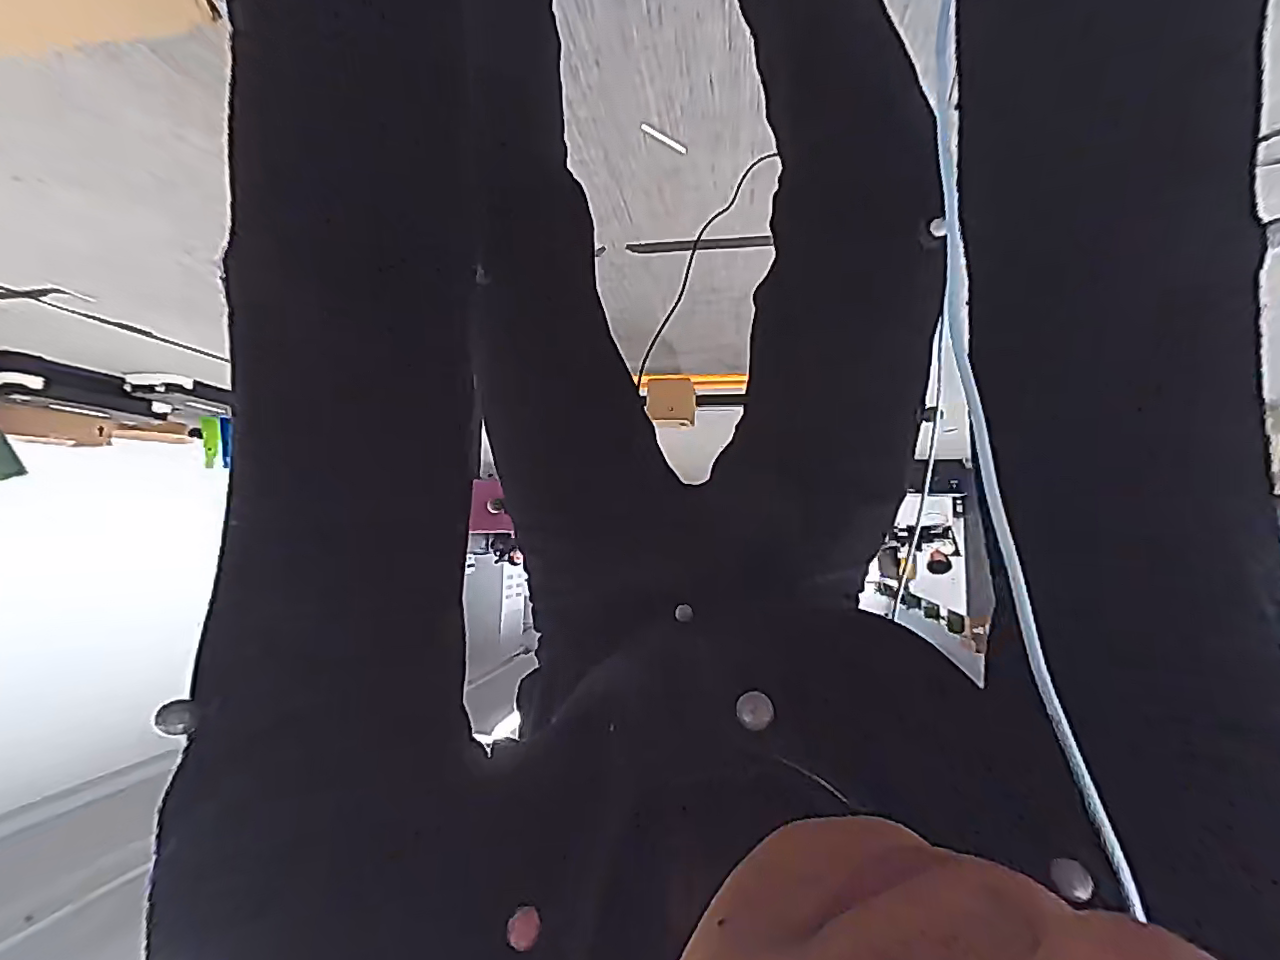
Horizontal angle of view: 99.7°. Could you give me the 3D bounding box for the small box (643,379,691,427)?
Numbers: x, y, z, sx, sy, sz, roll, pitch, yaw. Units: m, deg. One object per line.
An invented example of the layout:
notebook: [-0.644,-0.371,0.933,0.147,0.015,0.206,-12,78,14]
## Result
small box: [0.117,-0.315,2.230,0.179,0.176,0.168,2,175,13]
